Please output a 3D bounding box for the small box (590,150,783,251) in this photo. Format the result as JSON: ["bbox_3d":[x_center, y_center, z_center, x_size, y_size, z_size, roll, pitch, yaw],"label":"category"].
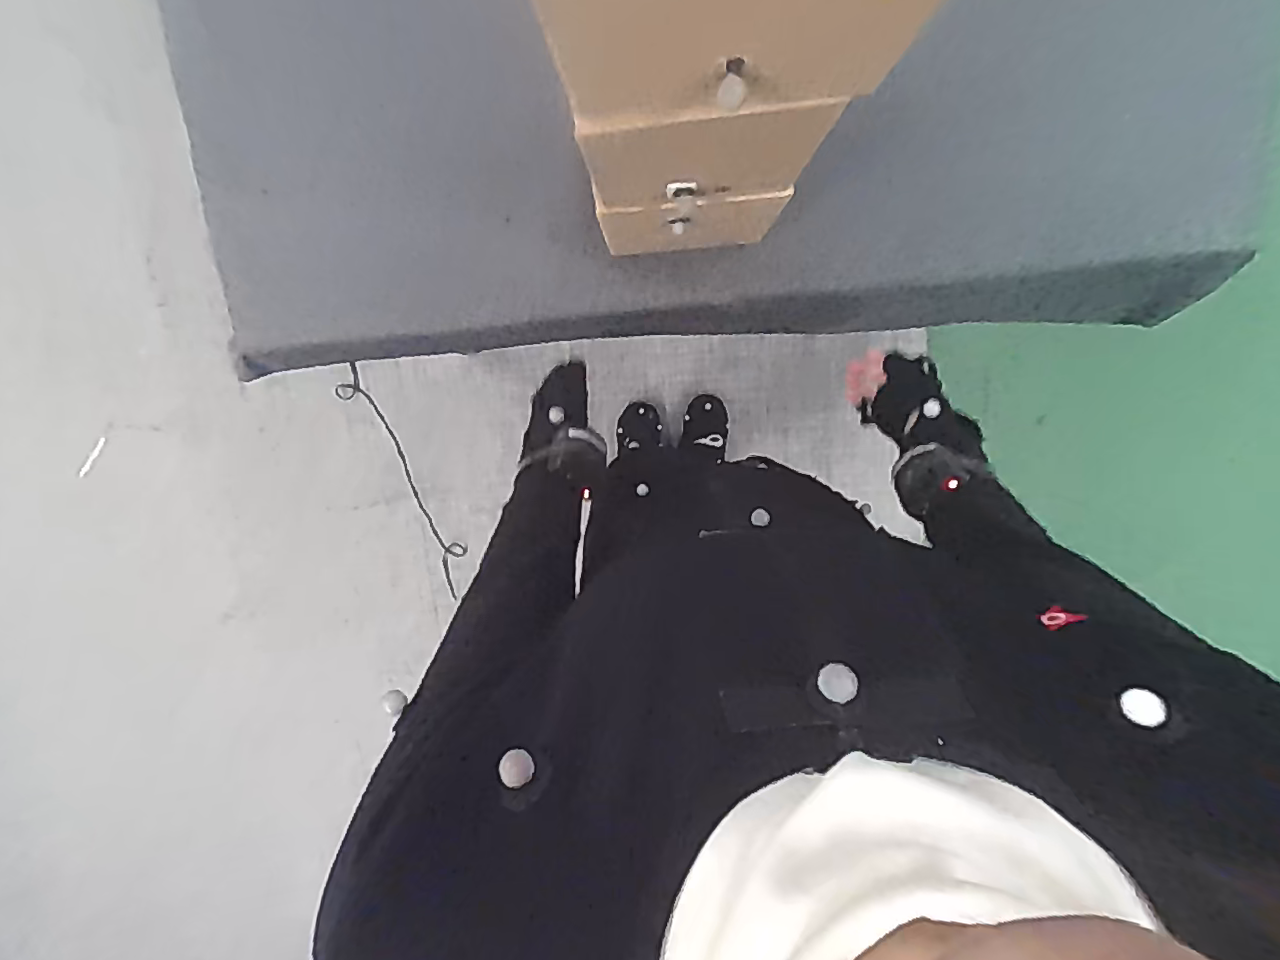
[{"bbox_3d":[0.042,-0.345,0.561,0.179,0.176,0.168,-4,101,2],"label":"small box"}]

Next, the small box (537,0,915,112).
[{"bbox_3d":[0.038,-0.286,0.225,0.179,0.176,0.168,-3,100,3],"label":"small box"}]

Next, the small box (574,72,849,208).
[{"bbox_3d":[0.037,-0.319,0.385,0.168,0.176,0.179,-5,102,4],"label":"small box"}]
